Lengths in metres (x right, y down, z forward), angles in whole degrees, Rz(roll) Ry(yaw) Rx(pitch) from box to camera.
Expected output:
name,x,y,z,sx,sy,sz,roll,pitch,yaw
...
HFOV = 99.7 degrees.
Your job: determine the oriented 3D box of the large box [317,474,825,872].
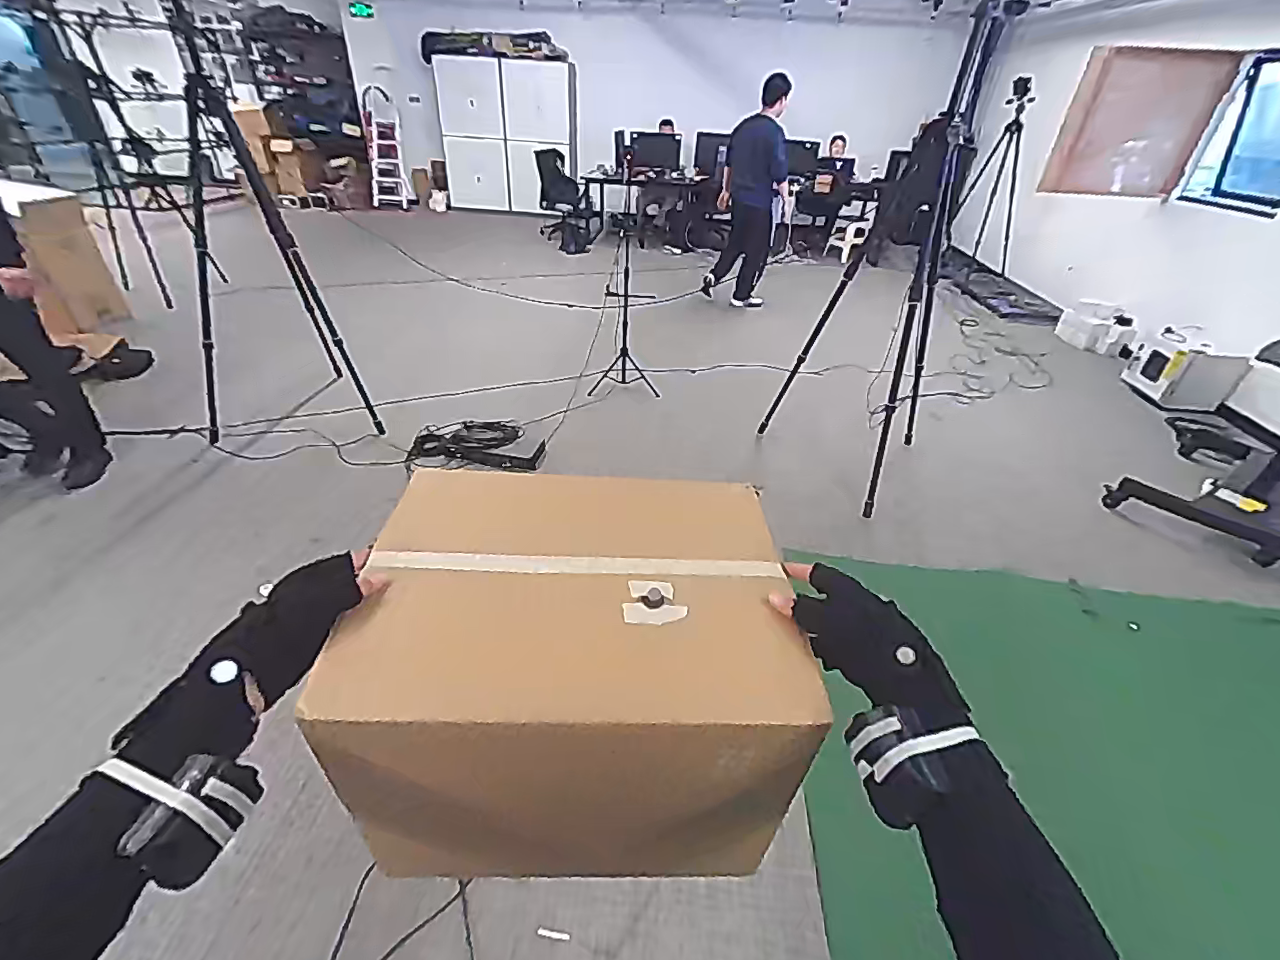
name,x,y,z,sx,sy,sz,roll,pitch,yaw
large box,-0.067,0.211,0.622,0.408,0.320,0.320,3,36,-5
